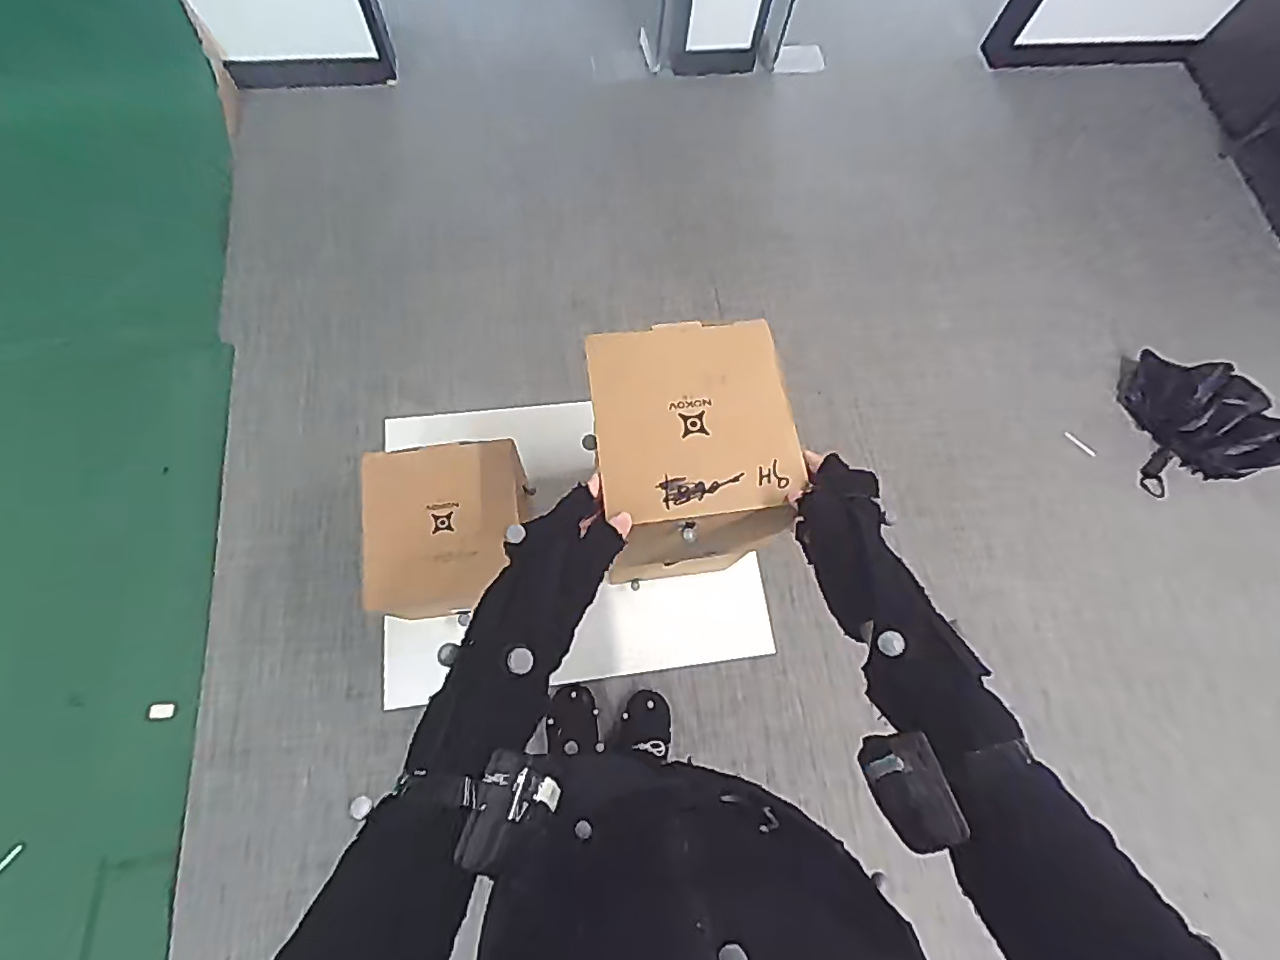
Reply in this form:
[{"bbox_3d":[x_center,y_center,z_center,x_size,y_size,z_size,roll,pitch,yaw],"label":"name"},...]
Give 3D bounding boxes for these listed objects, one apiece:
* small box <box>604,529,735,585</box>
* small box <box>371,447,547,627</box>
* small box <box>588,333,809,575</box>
[{"bbox_3d":[0.036,0.035,0.696,0.168,0.176,0.179,-7,72,-6],"label":"small box"},{"bbox_3d":[-0.214,0.078,0.668,0.168,0.176,0.179,-9,74,-6],"label":"small box"},{"bbox_3d":[0.042,-0.016,0.529,0.168,0.176,0.179,-7,71,-4],"label":"small box"}]
